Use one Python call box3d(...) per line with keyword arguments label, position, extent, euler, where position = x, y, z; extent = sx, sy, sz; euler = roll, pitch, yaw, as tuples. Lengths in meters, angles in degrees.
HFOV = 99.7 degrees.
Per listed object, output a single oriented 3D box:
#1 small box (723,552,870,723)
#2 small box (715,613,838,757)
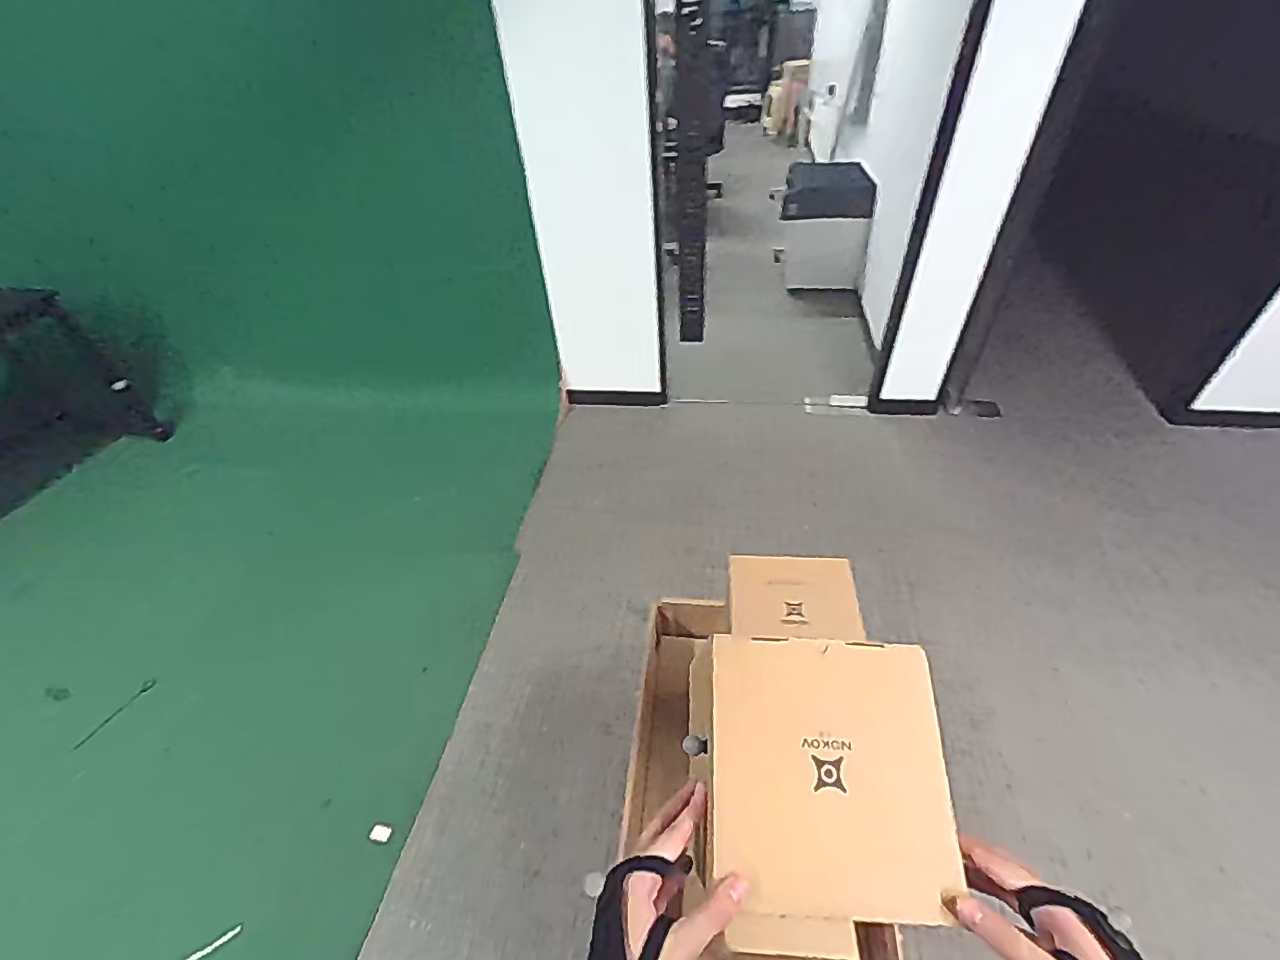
box3d(label="small box", position=(0.205, 0.222, 0.756), extent=(0.168, 0.176, 0.179), euler=(2, 47, 6))
box3d(label="small box", position=(0.209, 0.333, 0.875), extent=(0.168, 0.176, 0.179), euler=(-1, 46, 5))
